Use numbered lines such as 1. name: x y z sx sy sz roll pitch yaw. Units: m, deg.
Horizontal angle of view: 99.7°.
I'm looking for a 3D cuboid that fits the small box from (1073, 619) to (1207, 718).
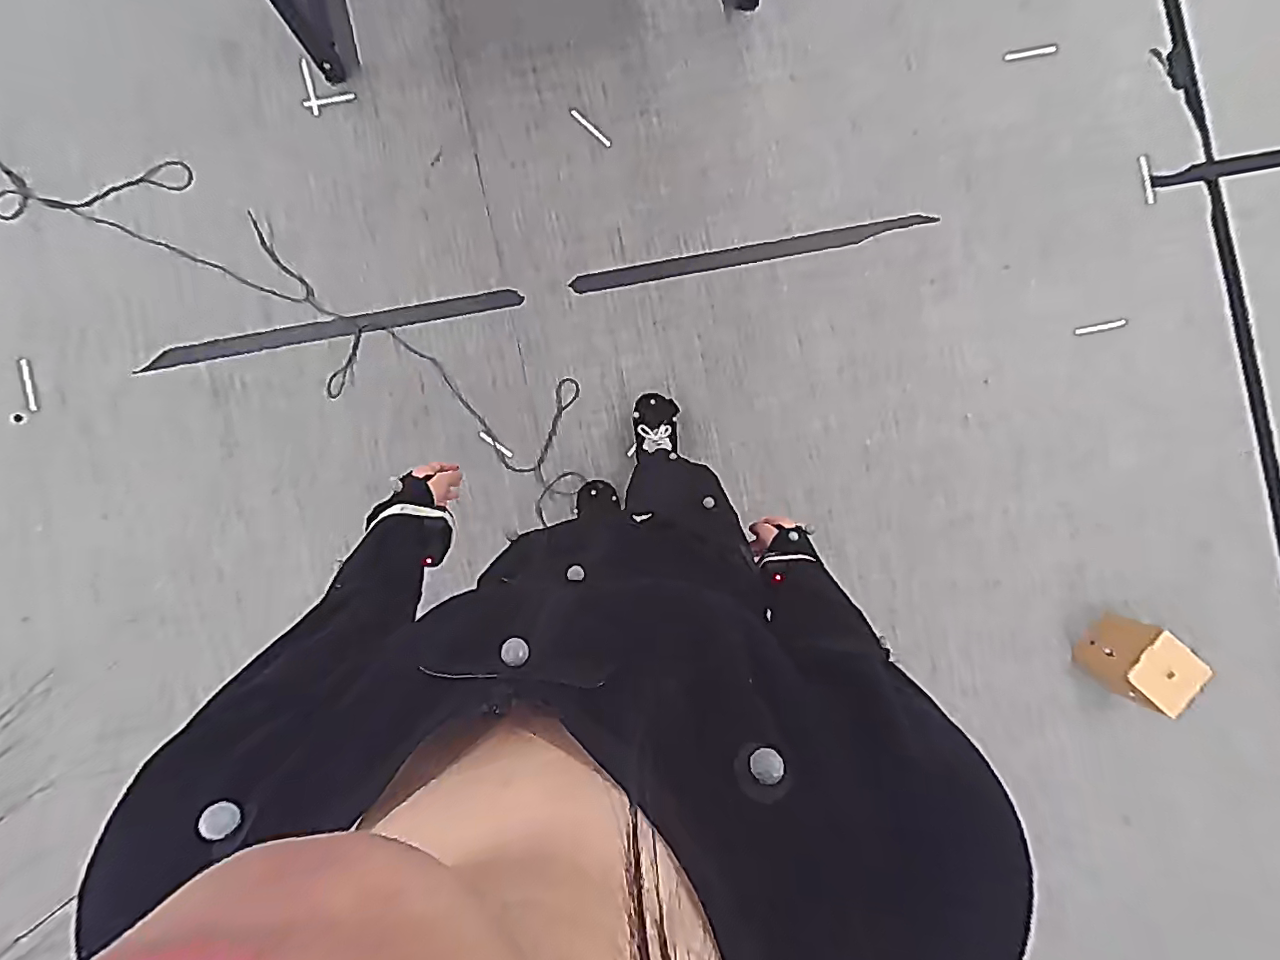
1. small box: 1.359 0.504 1.483 0.179 0.176 0.168 40 89 -3
